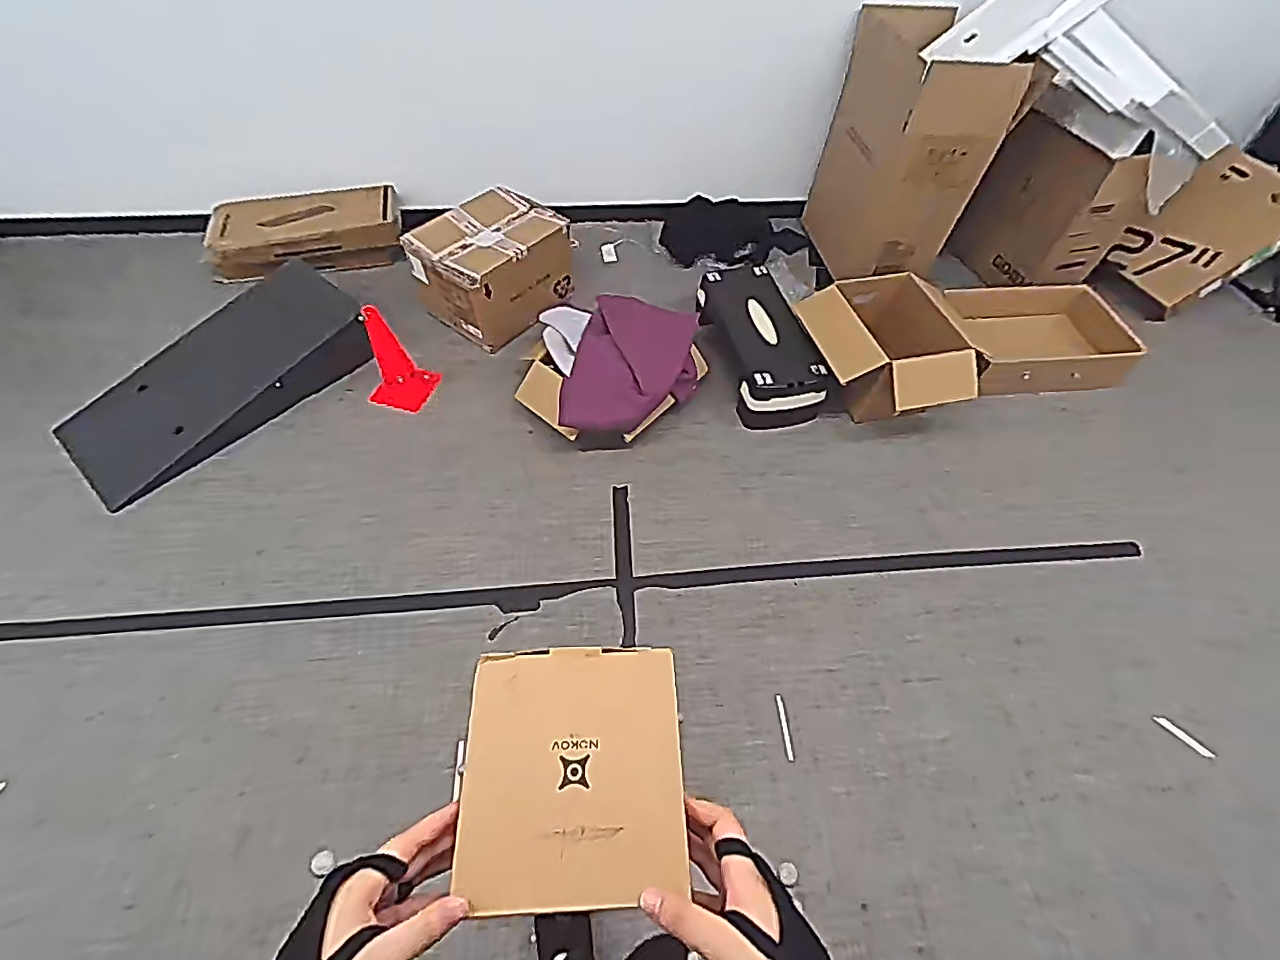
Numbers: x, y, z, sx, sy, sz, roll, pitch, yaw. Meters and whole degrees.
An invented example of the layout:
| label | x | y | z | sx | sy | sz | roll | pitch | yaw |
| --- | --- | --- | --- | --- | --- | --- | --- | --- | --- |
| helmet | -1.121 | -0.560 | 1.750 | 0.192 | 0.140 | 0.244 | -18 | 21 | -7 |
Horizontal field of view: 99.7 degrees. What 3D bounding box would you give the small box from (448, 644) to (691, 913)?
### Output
| label | x | y | z | sx | sy | sz | roll | pitch | yaw |
| --- | --- | --- | --- | --- | --- | --- | --- | --- | --- |
| small box | -0.054 | 0.256 | 0.473 | 0.168 | 0.176 | 0.179 | -1 | 57 | -4 |
